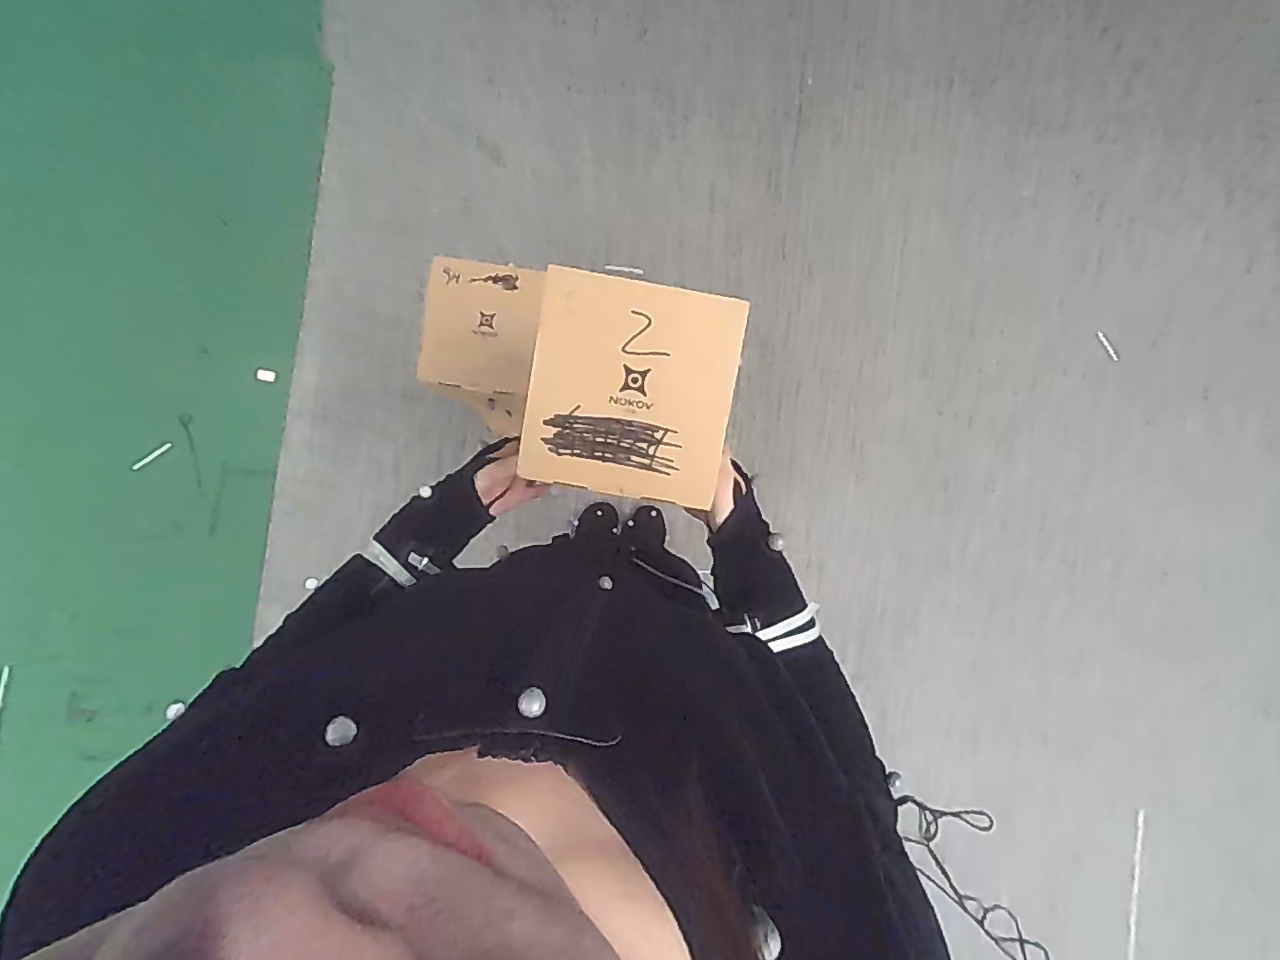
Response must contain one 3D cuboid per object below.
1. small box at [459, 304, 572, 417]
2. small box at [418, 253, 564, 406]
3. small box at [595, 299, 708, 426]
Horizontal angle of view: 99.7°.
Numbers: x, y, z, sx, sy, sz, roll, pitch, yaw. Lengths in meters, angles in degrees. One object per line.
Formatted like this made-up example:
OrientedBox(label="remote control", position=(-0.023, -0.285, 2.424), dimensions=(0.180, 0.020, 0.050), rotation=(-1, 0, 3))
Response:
OrientedBox(label="small box", position=(-0.217, -0.217, 0.978), dimensions=(0.168, 0.176, 0.179), rotation=(7, 90, -2))
OrientedBox(label="small box", position=(-0.212, -0.212, 0.813), dimensions=(0.168, 0.176, 0.179), rotation=(8, 91, -2))
OrientedBox(label="small box", position=(0.020, -0.202, 0.981), dimensions=(0.168, 0.176, 0.179), rotation=(10, 88, 0))
